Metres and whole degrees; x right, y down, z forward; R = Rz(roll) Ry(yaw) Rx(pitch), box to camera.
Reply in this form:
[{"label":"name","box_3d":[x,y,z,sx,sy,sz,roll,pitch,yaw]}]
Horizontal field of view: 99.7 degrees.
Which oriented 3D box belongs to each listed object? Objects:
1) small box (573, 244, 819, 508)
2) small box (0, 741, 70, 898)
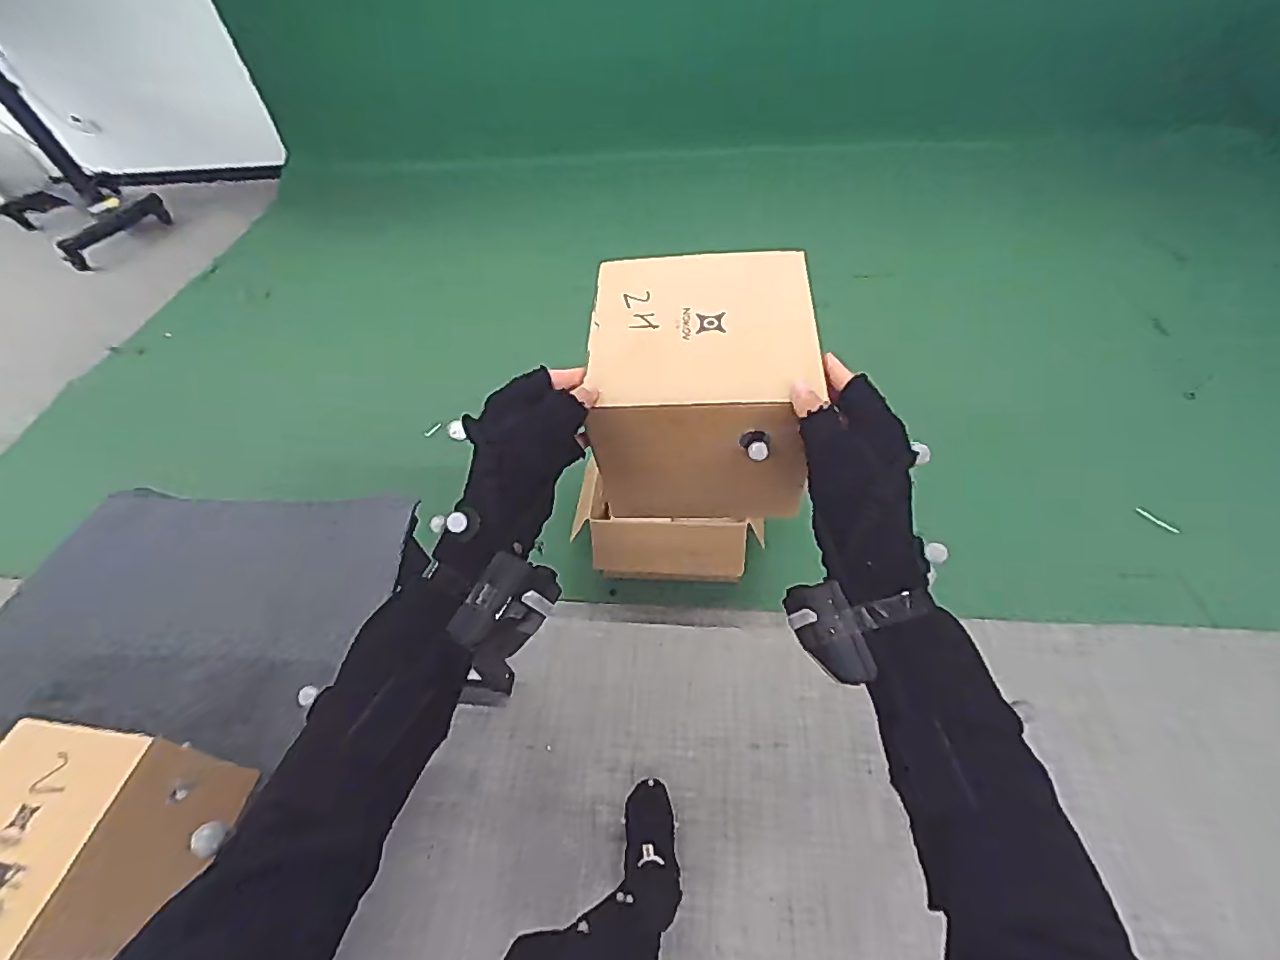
[{"label":"small box","box_3d":[0.050,-0.085,0.488,0.179,0.176,0.168,-1,57,7]},{"label":"small box","box_3d":[-0.789,0.373,0.575,0.168,0.176,0.179,0,52,4]}]
